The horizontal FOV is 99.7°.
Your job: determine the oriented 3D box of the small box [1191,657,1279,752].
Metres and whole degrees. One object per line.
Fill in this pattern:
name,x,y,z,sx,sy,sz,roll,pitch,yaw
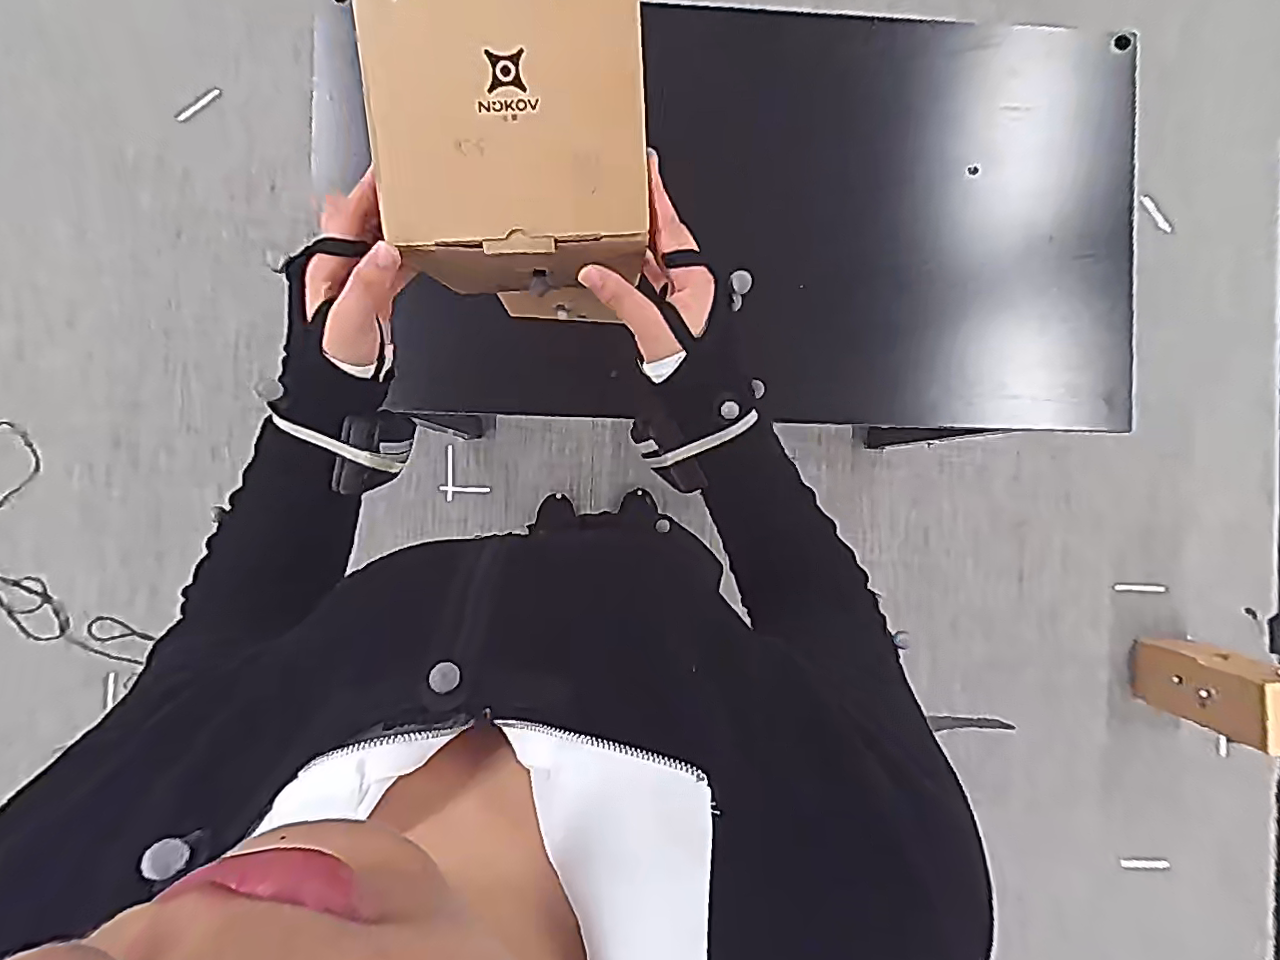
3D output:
small box,1.517,0.540,1.320,0.179,0.176,0.168,-2,88,-1

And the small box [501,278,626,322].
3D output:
small box,-0.097,-0.320,0.695,0.168,0.176,0.179,3,89,-2

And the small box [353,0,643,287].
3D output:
small box,-0.085,-0.247,0.404,0.168,0.176,0.179,-4,100,-2

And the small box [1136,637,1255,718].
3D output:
small box,1.514,0.536,1.482,0.168,0.176,0.179,0,91,-2
